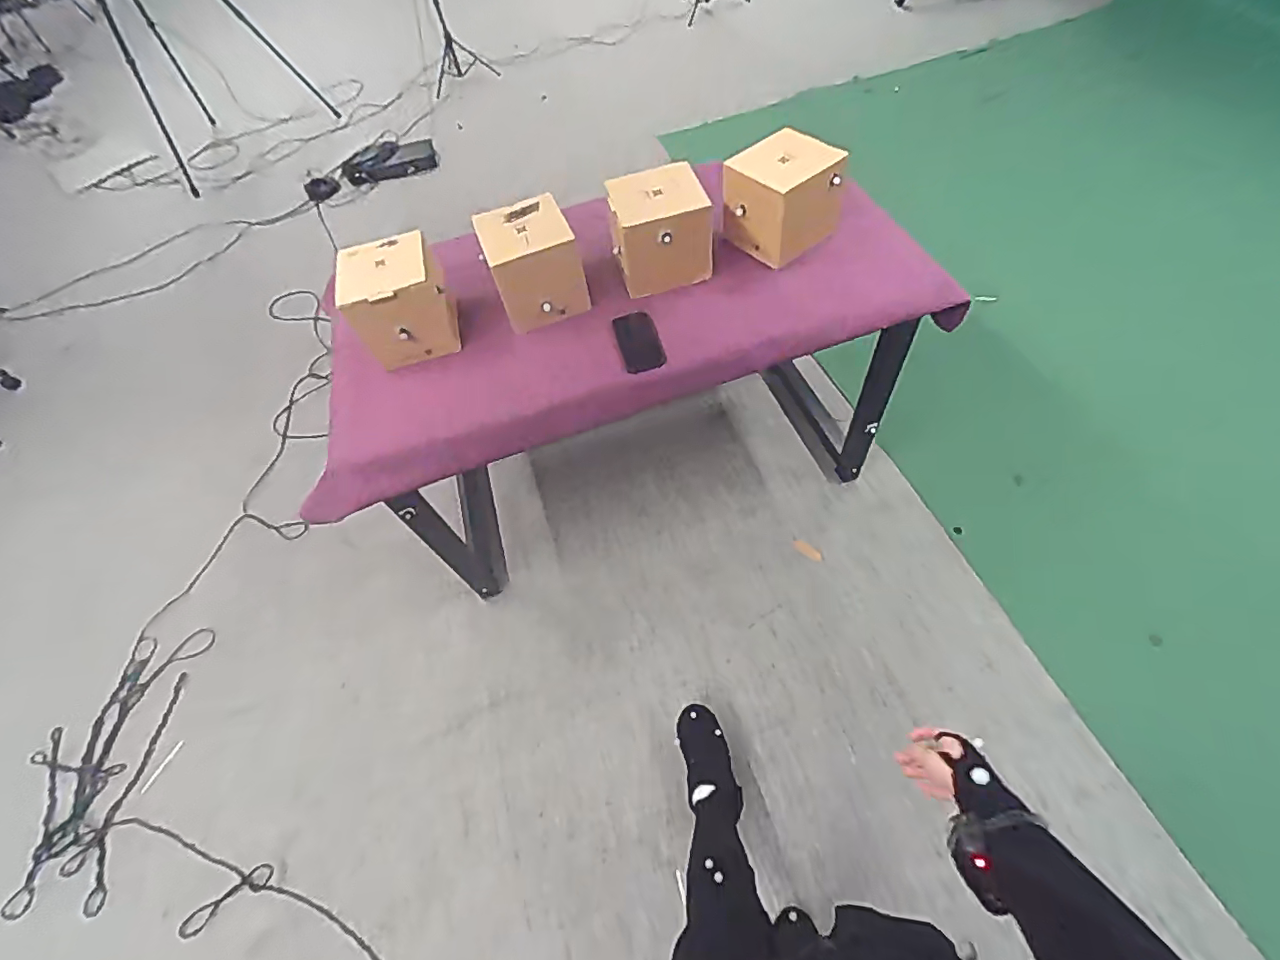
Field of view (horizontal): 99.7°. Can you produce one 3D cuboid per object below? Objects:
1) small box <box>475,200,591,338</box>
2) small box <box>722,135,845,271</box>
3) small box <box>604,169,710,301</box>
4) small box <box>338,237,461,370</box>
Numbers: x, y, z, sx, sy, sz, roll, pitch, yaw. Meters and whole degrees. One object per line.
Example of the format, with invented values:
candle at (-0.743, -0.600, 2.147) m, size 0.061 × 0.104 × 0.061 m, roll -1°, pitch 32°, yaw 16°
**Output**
small box at (-0.211, -0.420, 1.085) m, size 0.168 × 0.176 × 0.179 m, roll -21°, pitch 58°, yaw -6°
small box at (0.287, -0.561, 1.107) m, size 0.179 × 0.176 × 0.168 m, roll -35°, pitch 59°, yaw -15°
small box at (0.039, -0.490, 1.096) m, size 0.179 × 0.176 × 0.168 m, roll -15°, pitch 57°, yaw -2°
small box at (-0.467, -0.339, 1.069) m, size 0.168 × 0.176 × 0.179 m, roll -17°, pitch 57°, yaw -3°
